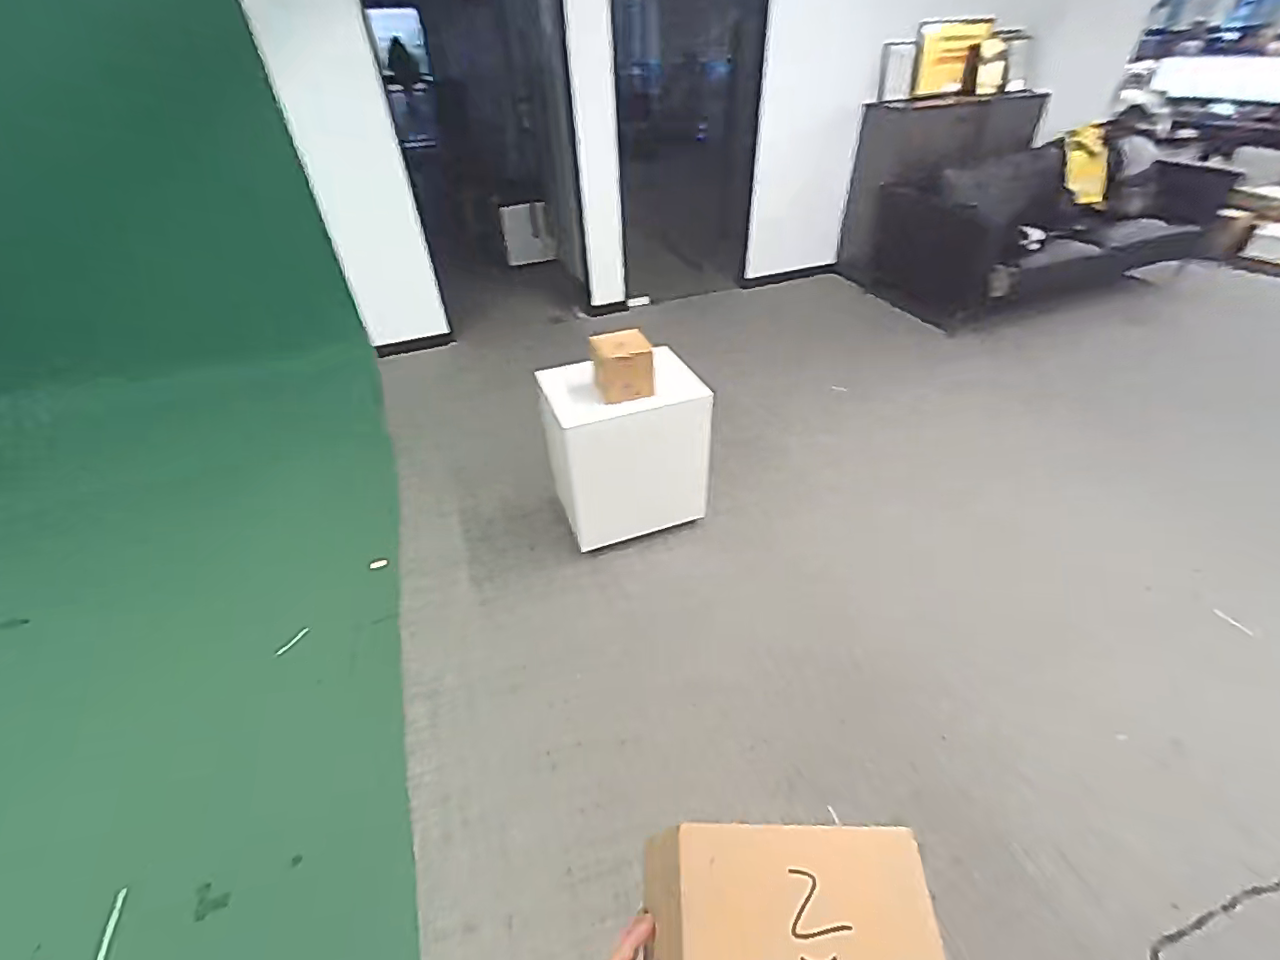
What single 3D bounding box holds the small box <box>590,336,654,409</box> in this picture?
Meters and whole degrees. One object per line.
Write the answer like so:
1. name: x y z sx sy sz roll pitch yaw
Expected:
1. small box: -0.059 -0.355 1.781 0.168 0.176 0.179 -15 40 -15
